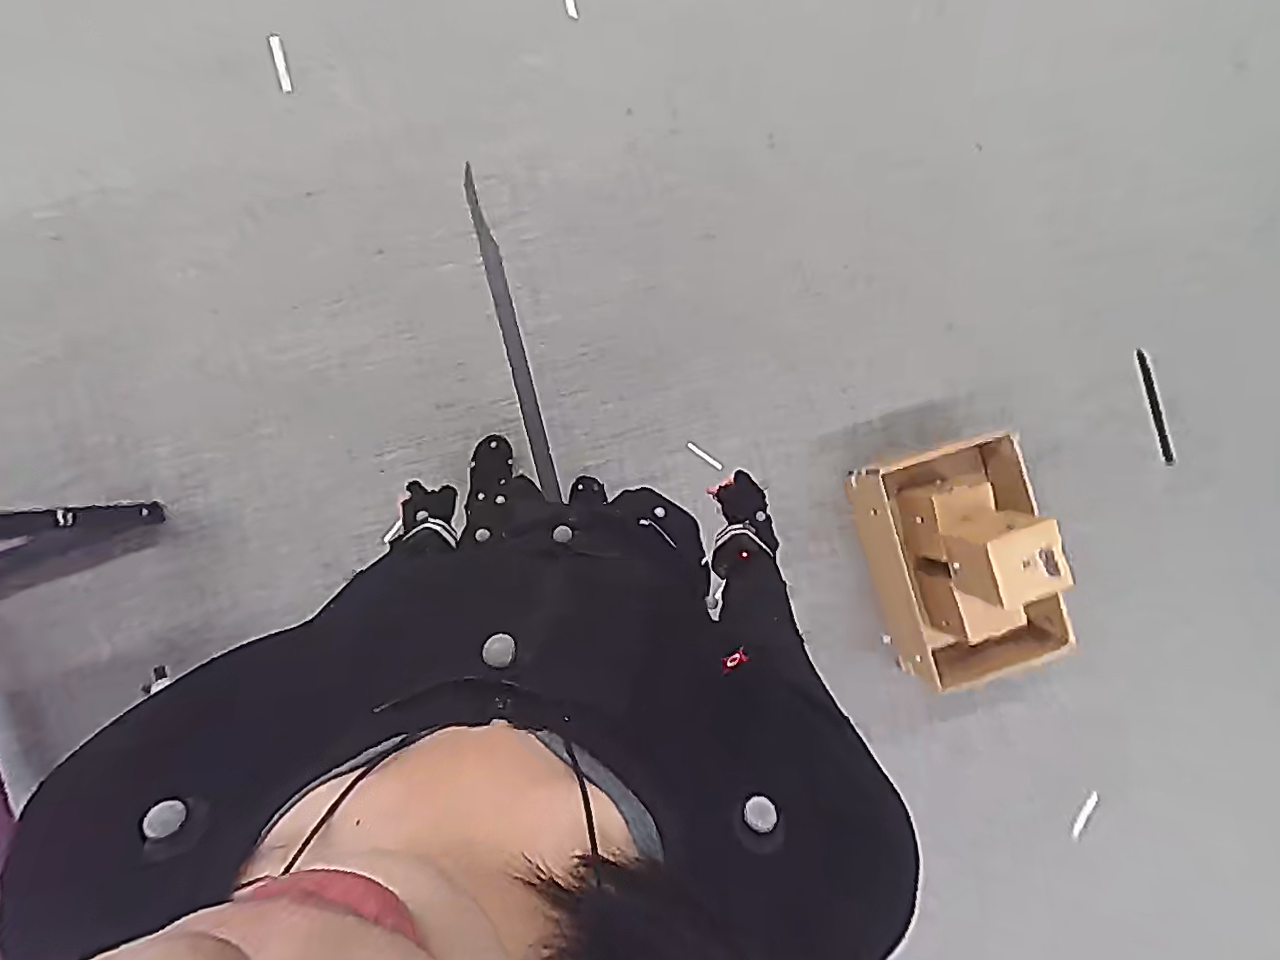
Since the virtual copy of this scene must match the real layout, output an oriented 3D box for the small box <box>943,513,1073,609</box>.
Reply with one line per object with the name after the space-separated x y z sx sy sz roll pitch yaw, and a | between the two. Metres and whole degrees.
0.876 0.186 1.301 0.179 0.176 0.168 -19 93 -3 | small box
